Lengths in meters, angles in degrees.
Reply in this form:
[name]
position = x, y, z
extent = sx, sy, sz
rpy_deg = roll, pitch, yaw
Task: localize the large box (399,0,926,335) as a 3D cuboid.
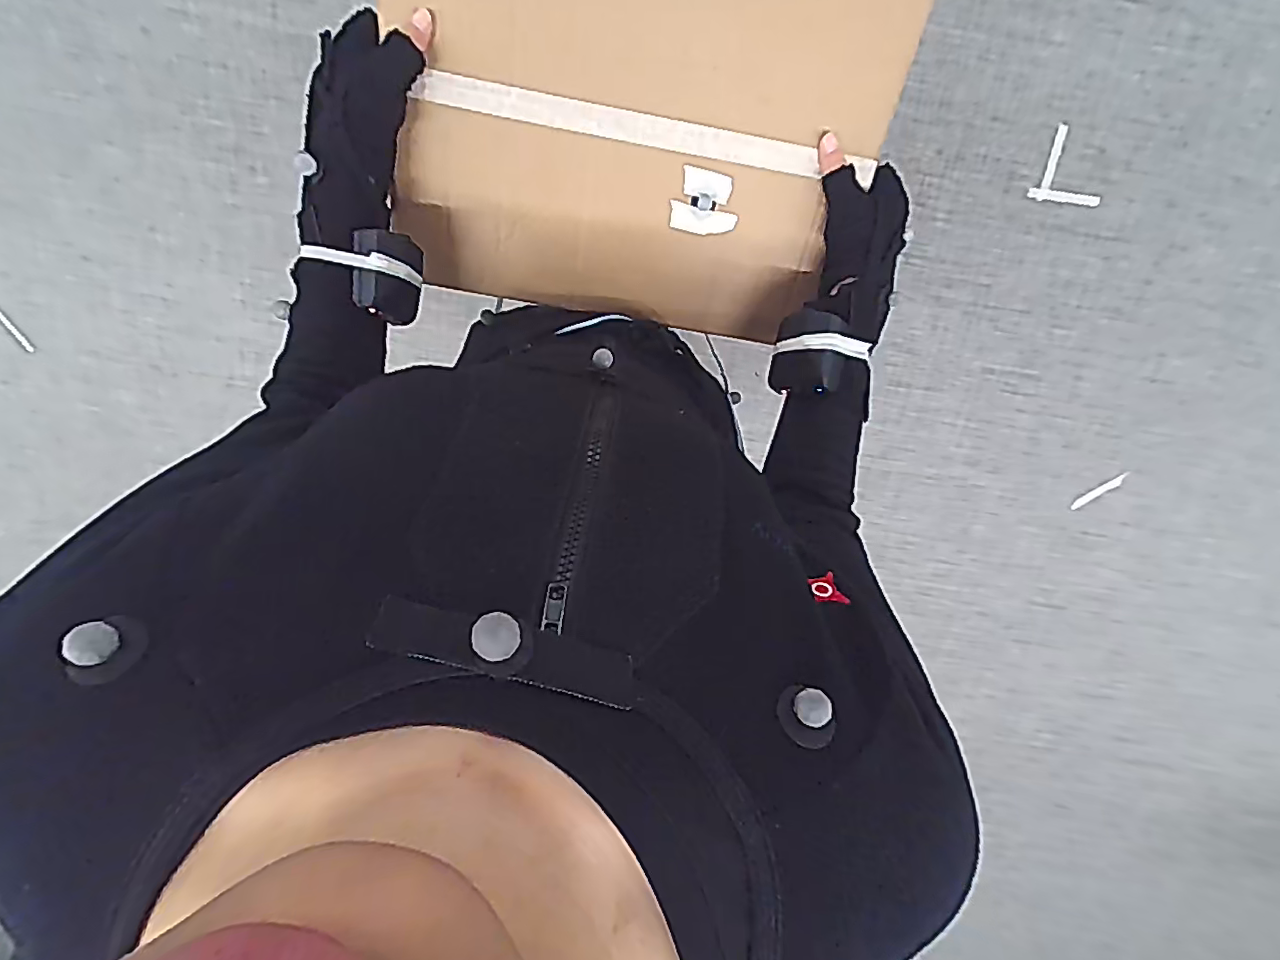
[large box]
position = 0.001, -0.378, 0.578
extent = 0.408, 0.320, 0.320
rpy_deg = 9, 122, -6
